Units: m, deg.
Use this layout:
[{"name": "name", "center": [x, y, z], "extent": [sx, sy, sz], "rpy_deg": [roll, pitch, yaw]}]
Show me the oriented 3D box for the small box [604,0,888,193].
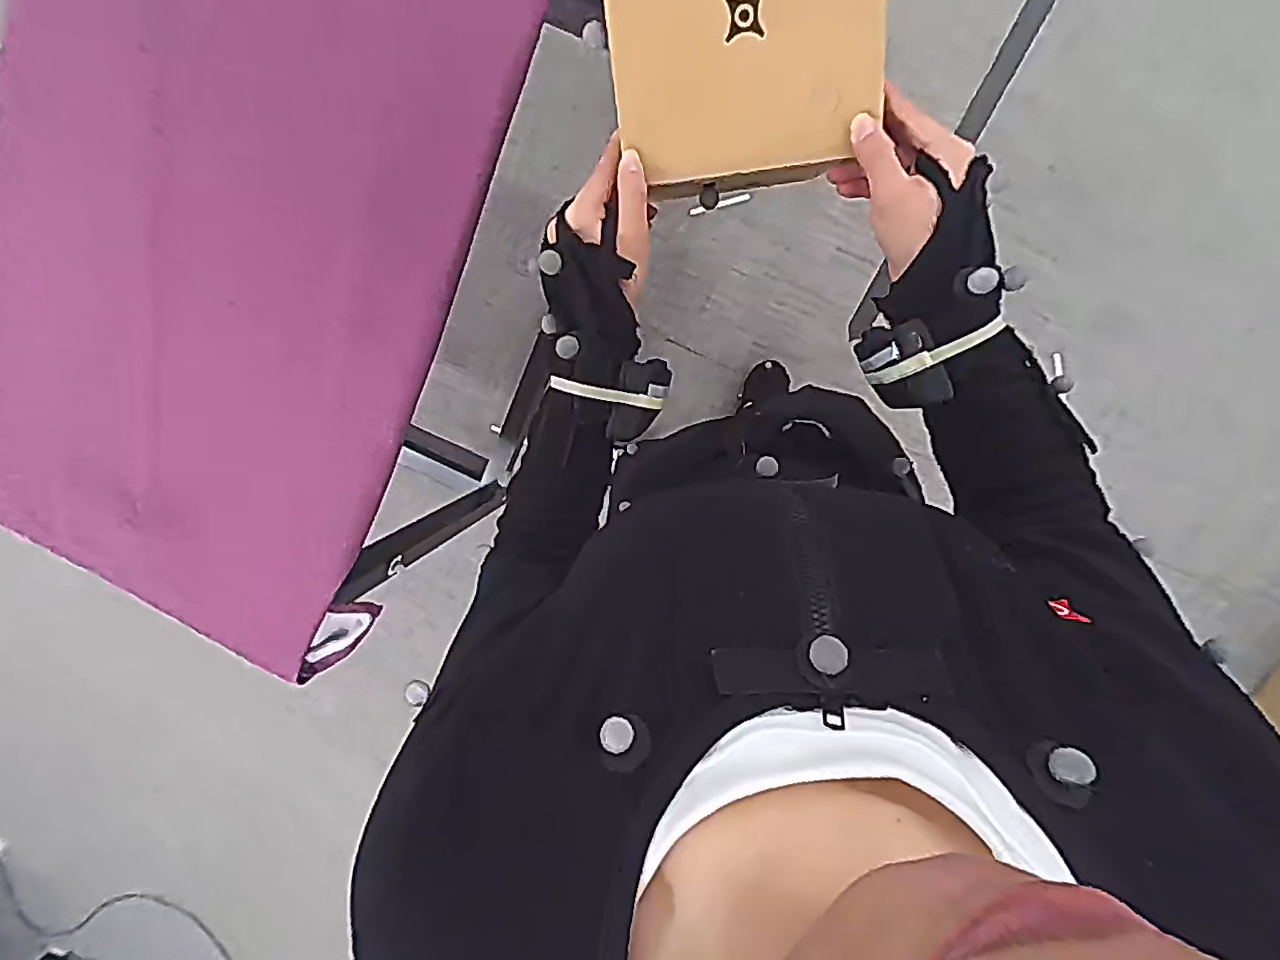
[{"name": "small box", "center": [0.066, -0.314, 0.387], "extent": [0.168, 0.176, 0.179], "rpy_deg": [-5, 112, 6]}]
